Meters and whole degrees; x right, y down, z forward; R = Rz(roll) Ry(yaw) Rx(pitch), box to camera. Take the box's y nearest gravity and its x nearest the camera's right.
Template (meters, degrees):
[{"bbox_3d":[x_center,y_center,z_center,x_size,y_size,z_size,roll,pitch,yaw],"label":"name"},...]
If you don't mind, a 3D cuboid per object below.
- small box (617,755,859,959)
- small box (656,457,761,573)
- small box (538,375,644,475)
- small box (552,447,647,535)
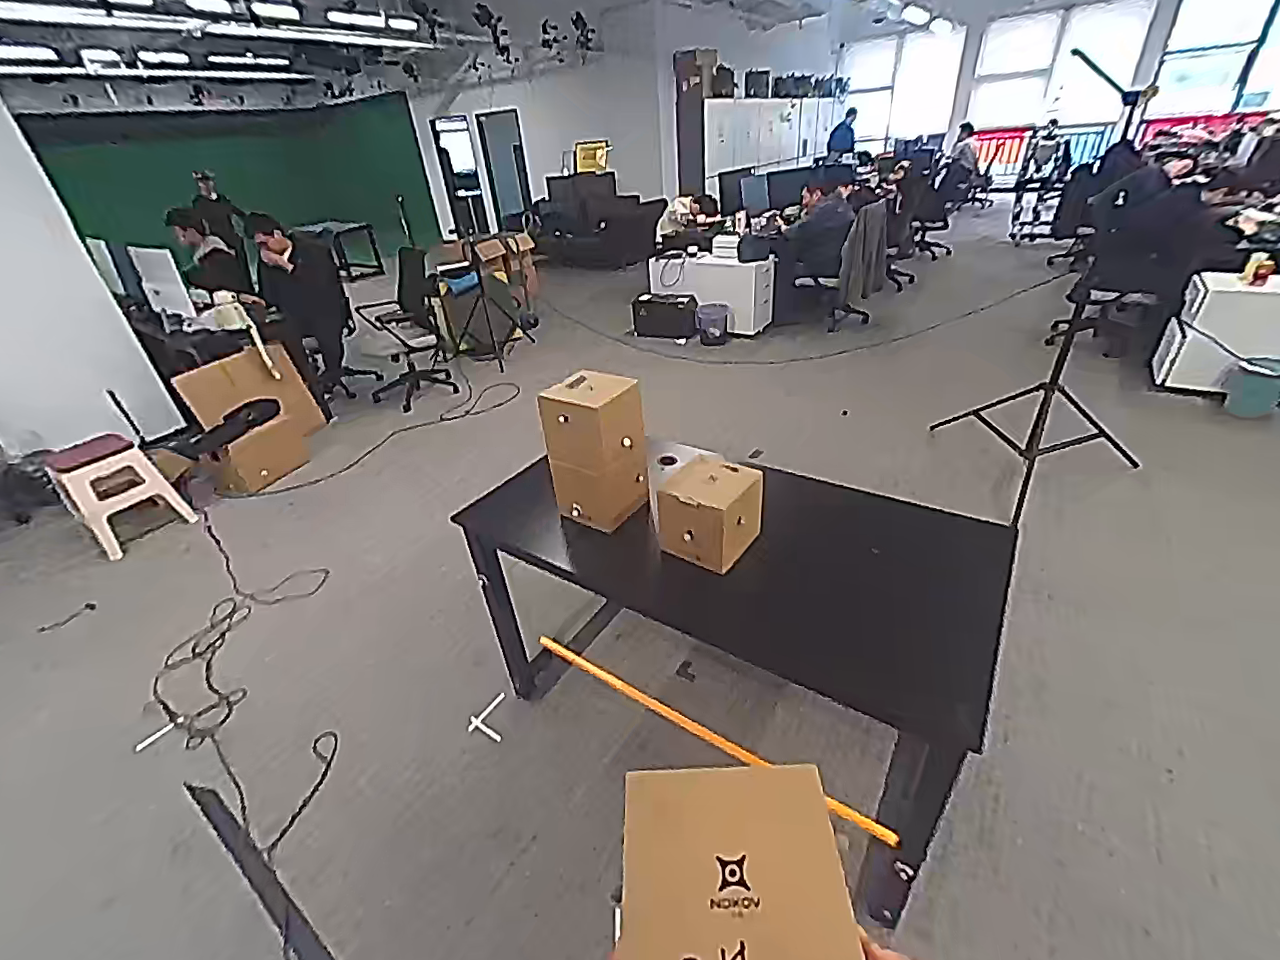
[{"bbox_3d":[0.074,0.360,0.452,0.168,0.176,0.179,-5,35,5],"label":"small box"},{"bbox_3d":[0.156,0.077,1.199,0.168,0.176,0.179,18,39,32],"label":"small box"},{"bbox_3d":[-0.108,-0.130,1.260,0.179,0.176,0.168,16,38,30],"label":"small box"},{"bbox_3d":[-0.094,0.009,1.348,0.168,0.176,0.179,16,38,31],"label":"small box"}]
